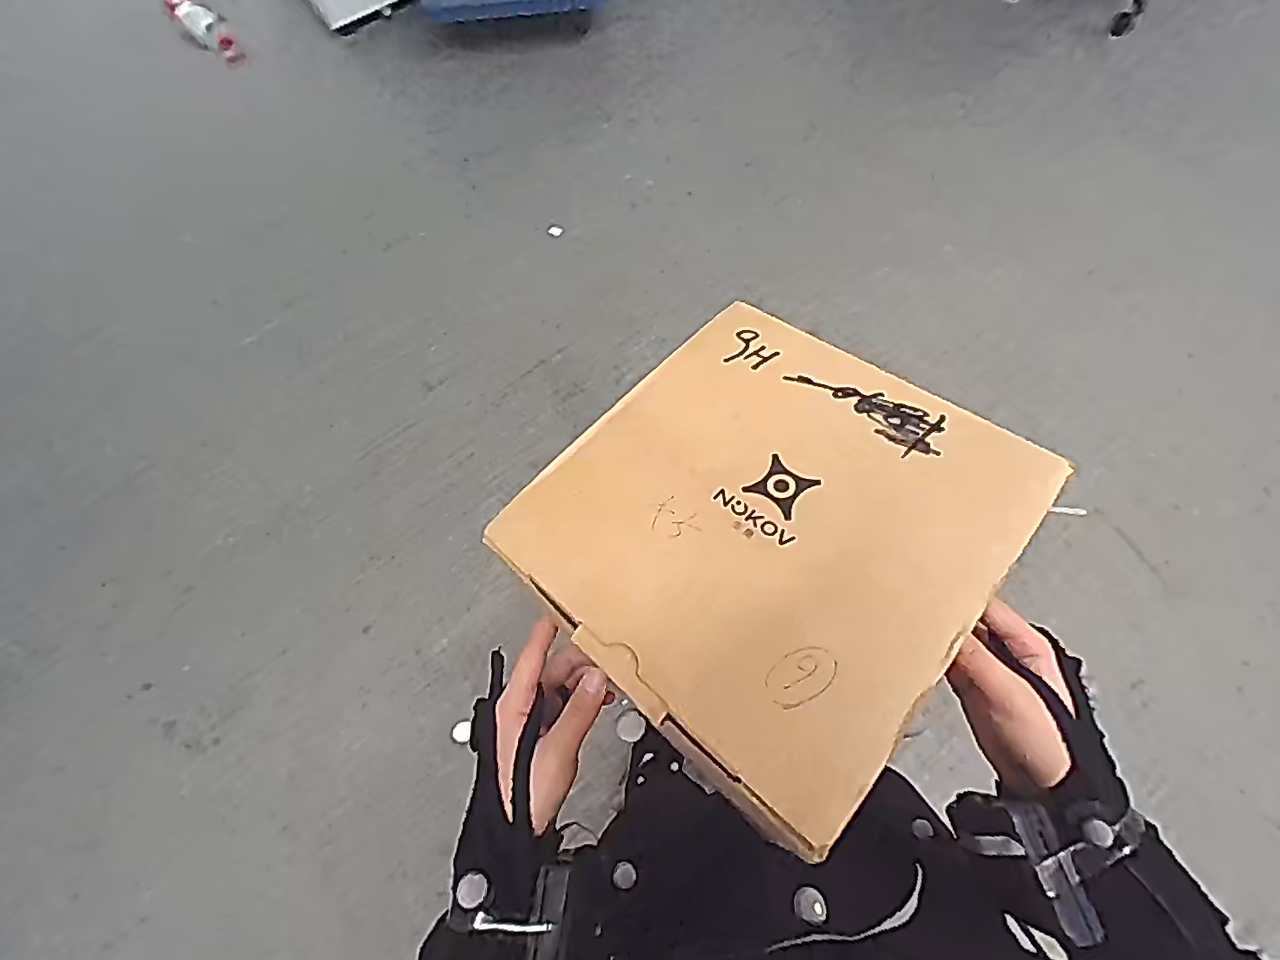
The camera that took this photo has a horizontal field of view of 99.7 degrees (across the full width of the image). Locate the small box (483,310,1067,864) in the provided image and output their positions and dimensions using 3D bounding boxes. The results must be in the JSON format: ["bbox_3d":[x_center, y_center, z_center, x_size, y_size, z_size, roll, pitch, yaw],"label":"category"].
[{"bbox_3d":[0.060,0.054,0.284,0.168,0.176,0.179,37,71,27],"label":"small box"}]
